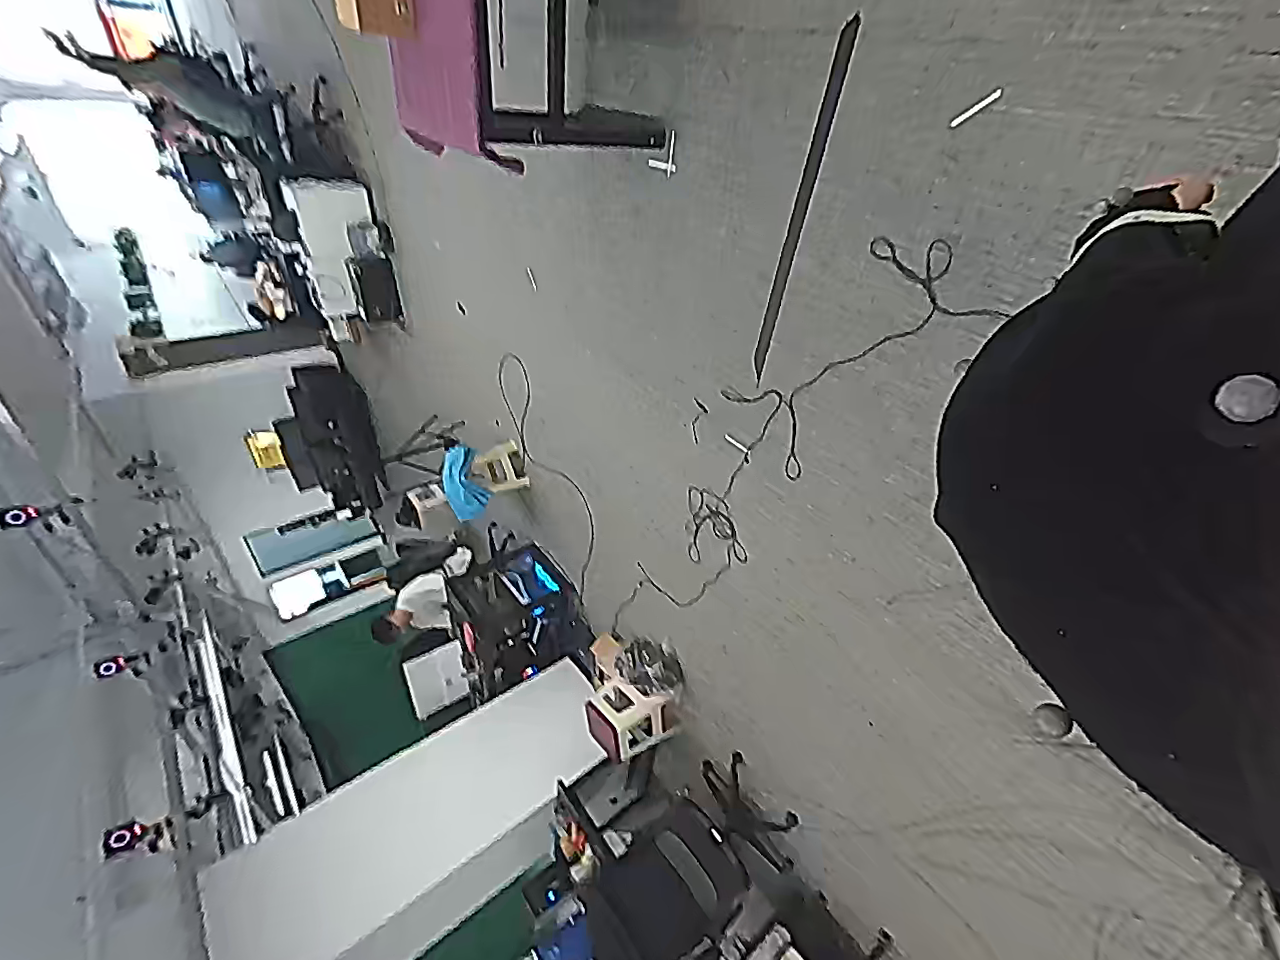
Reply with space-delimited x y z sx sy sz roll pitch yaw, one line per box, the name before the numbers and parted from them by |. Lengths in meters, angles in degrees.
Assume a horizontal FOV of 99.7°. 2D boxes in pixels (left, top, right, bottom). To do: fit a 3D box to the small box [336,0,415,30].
small box | -0.766 -1.416 1.549 0.179 0.176 0.168 43 141 29
